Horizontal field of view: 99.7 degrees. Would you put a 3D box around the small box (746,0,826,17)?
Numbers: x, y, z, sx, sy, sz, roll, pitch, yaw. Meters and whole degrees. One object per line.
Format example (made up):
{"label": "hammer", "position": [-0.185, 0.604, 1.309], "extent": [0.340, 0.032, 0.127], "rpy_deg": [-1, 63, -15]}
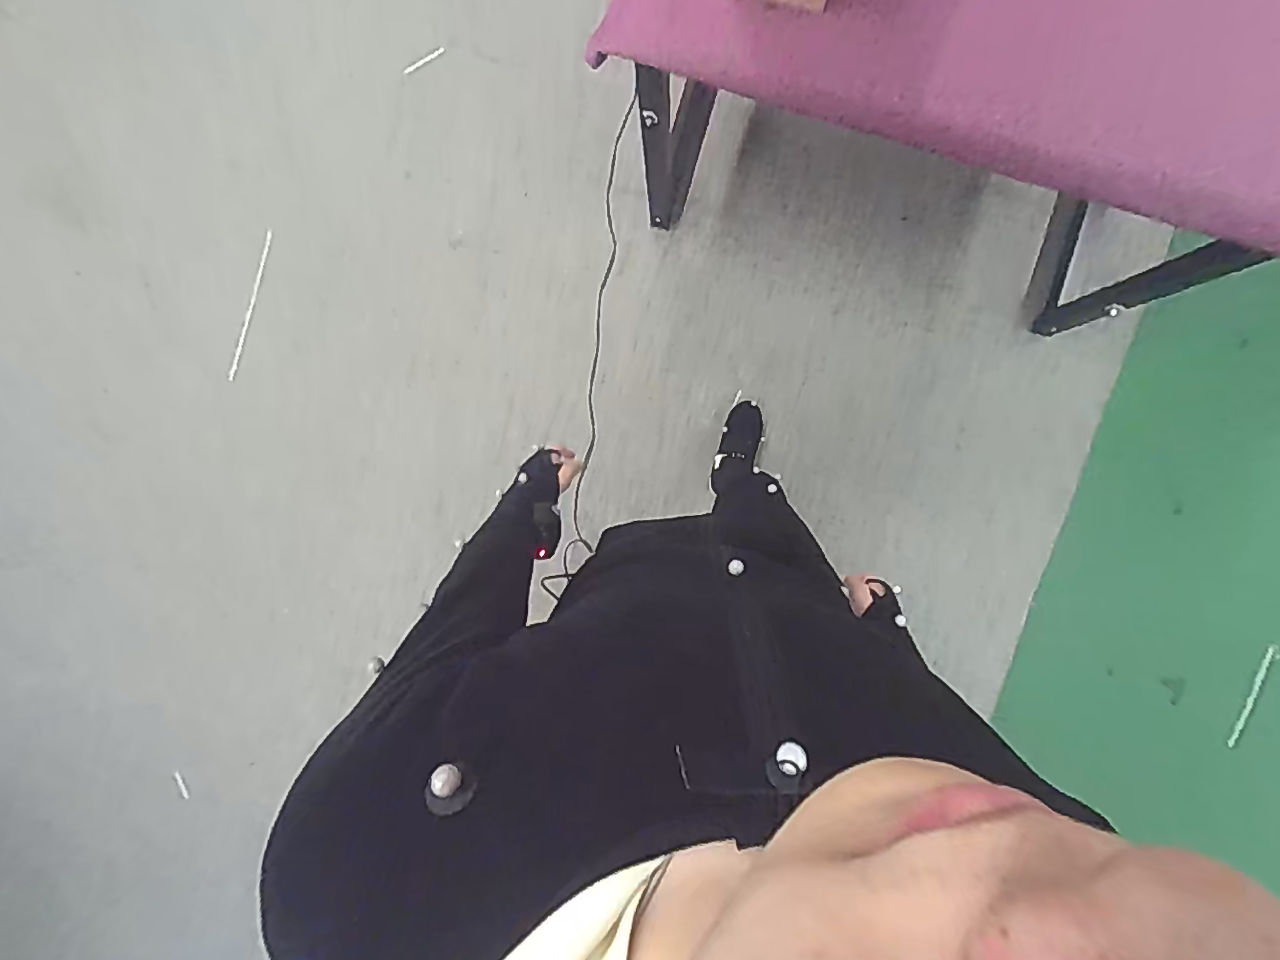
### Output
{"label": "small box", "position": [0.224, -0.828, 0.770], "extent": [0.168, 0.176, 0.179], "rpy_deg": [16, 93, 4]}

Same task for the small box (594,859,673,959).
{"label": "small box", "position": [-0.009, 1.225, 1.514], "extent": [0.168, 0.176, 0.179], "rpy_deg": [23, 94, 3]}
